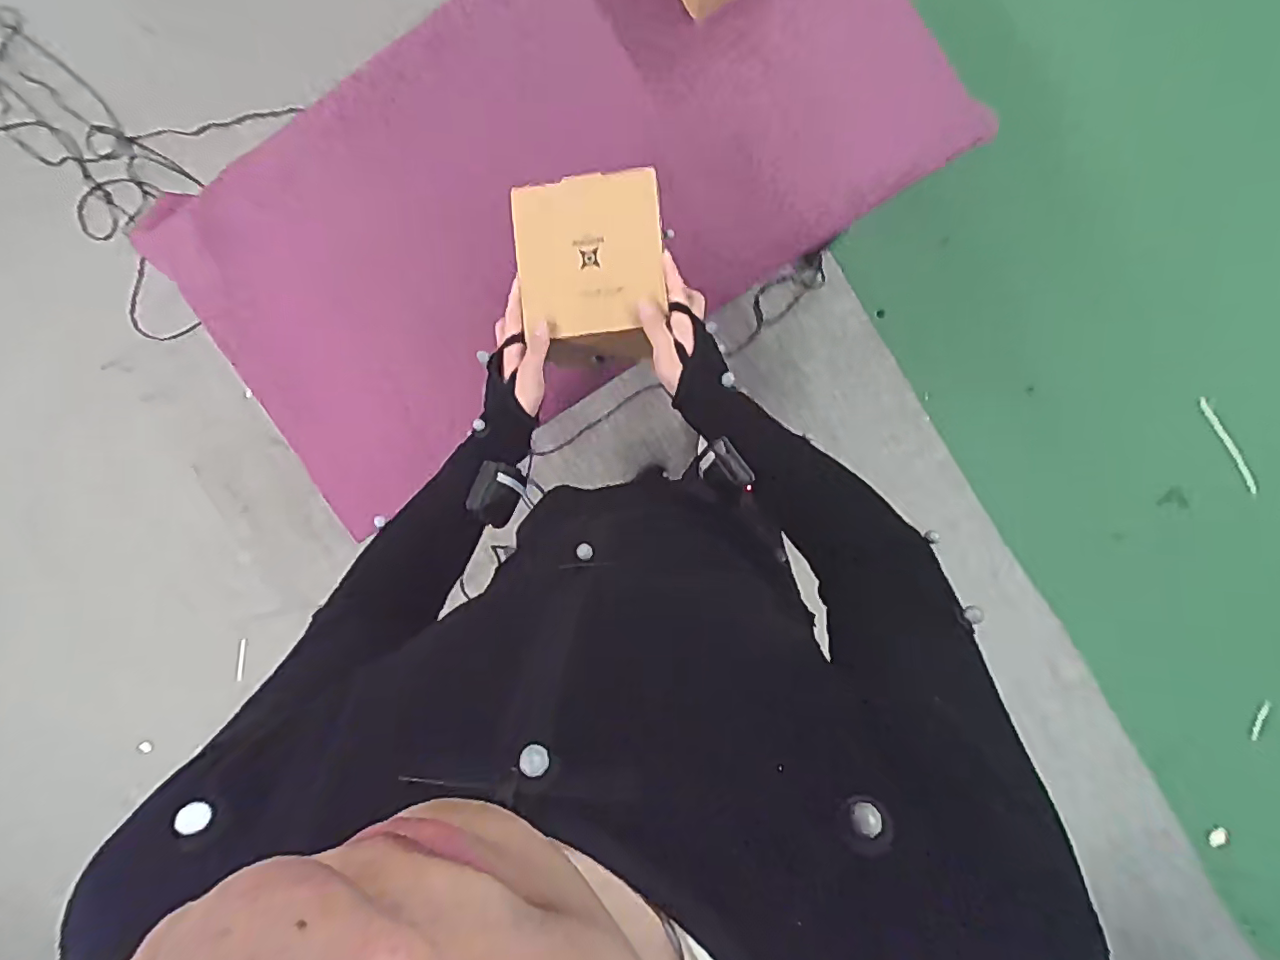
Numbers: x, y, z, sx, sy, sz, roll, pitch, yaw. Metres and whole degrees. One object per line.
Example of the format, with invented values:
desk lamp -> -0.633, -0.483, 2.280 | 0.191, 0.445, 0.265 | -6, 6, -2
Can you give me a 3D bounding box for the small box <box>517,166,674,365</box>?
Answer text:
small box -> -0.045, -0.251, 0.673 | 0.168, 0.176, 0.179 | -4, 91, 5
